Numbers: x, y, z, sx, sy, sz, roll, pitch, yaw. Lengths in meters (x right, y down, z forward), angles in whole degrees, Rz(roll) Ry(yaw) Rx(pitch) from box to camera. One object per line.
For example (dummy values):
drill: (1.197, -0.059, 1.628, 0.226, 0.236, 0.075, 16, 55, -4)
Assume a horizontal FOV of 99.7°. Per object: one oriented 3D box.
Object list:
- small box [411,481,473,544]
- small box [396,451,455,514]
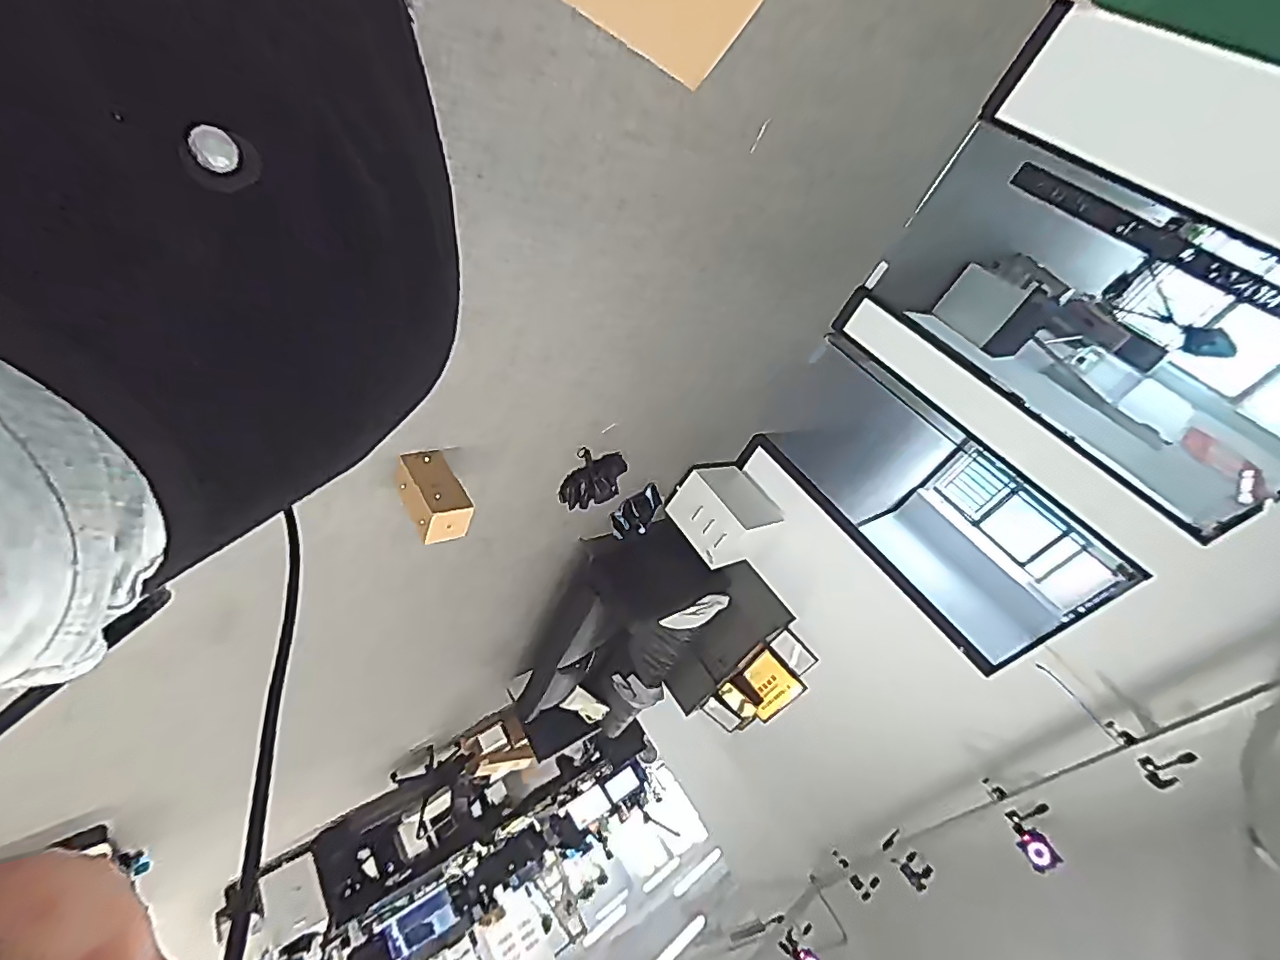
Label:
small box: (-0.779, 0.117, 2.114, 0.168, 0.176, 0.179, -11, 145, -42)
small box: (-0.873, 0.007, 2.186, 0.168, 0.176, 0.179, -14, 144, -41)
